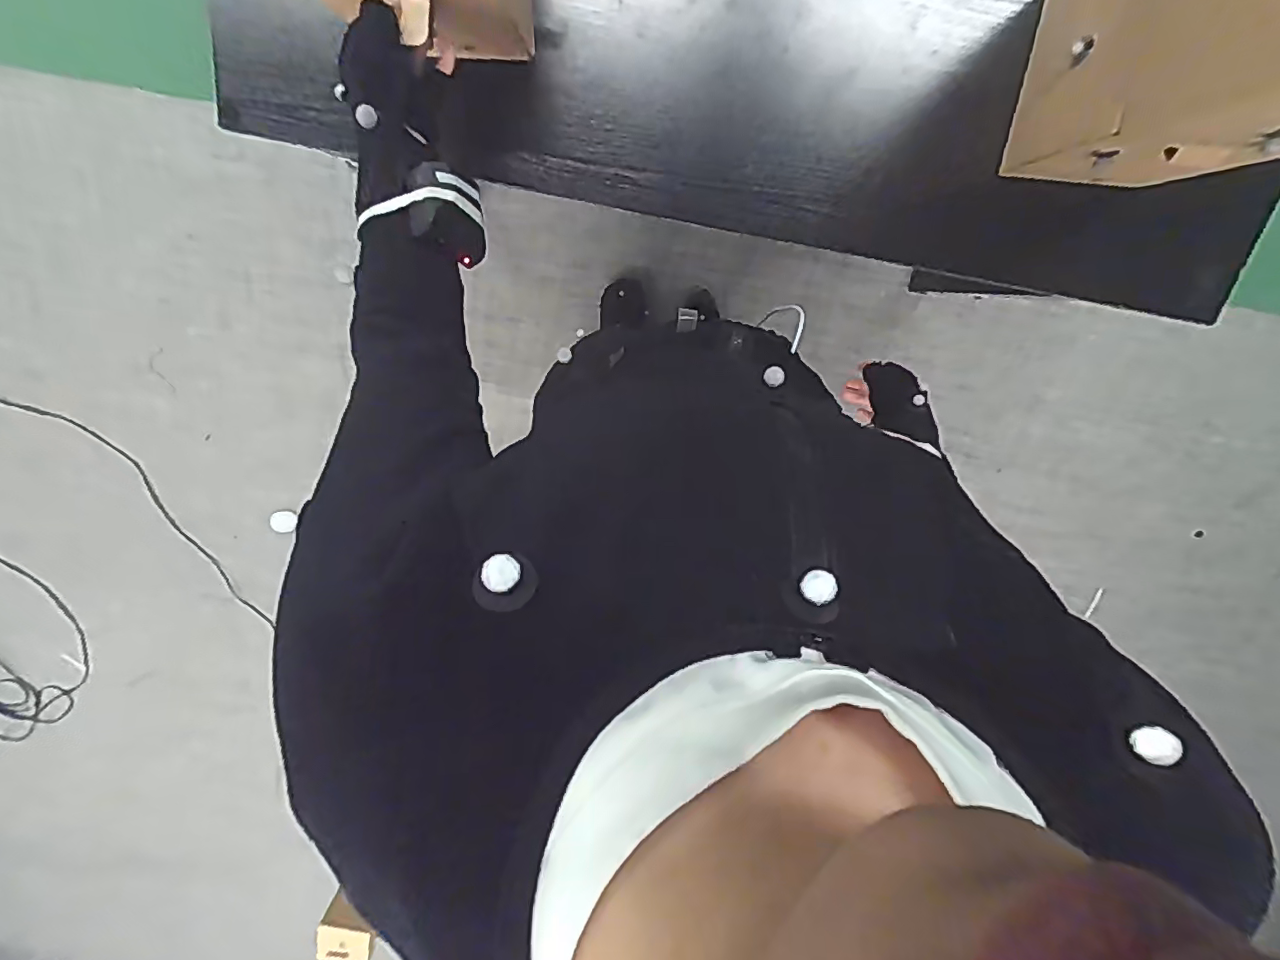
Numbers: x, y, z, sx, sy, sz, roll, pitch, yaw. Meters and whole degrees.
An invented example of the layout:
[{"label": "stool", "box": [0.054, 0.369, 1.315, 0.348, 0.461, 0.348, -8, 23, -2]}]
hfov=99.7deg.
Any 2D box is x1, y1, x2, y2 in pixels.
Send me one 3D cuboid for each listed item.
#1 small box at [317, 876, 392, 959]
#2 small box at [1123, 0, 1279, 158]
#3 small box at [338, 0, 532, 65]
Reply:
[{"label": "small box", "box": [-0.947, 1.477, 1.804, 0.168, 0.176, 0.179, 13, 109, -4]}, {"label": "small box", "box": [0.488, -0.338, 0.362, 0.168, 0.176, 0.179, 2, 110, 0]}, {"label": "small box", "box": [-0.194, -0.508, 0.480, 0.168, 0.176, 0.179, 1, 111, -1]}]
